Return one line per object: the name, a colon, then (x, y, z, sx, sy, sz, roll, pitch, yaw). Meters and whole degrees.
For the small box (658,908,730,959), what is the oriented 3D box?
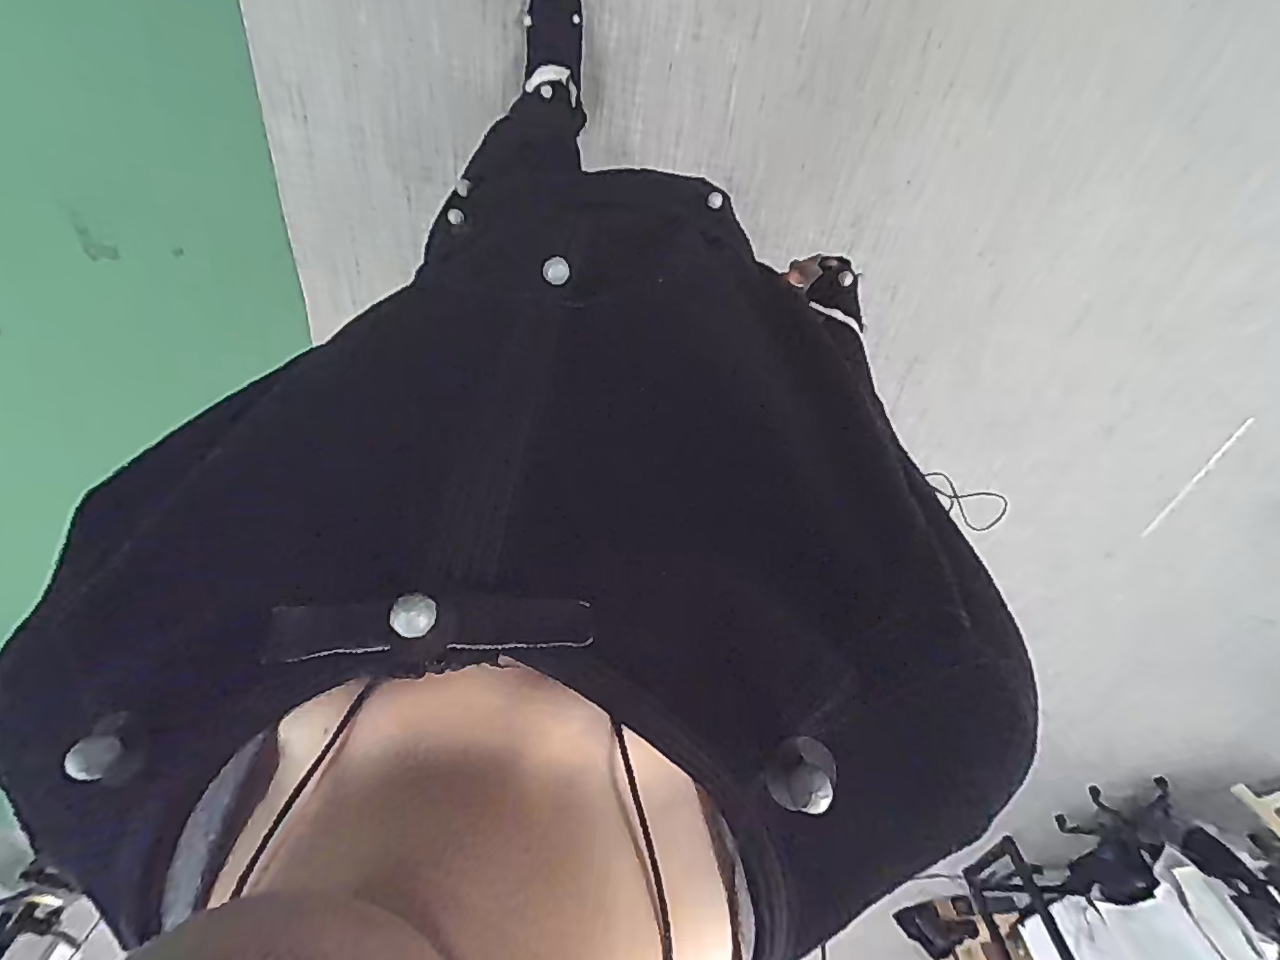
small box: (0.143, 1.300, 1.481, 0.168, 0.176, 0.179, 8, 127, -5)

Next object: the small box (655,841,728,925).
small box: (0.147, 1.205, 1.613, 0.179, 0.176, 0.168, 9, 126, -7)
